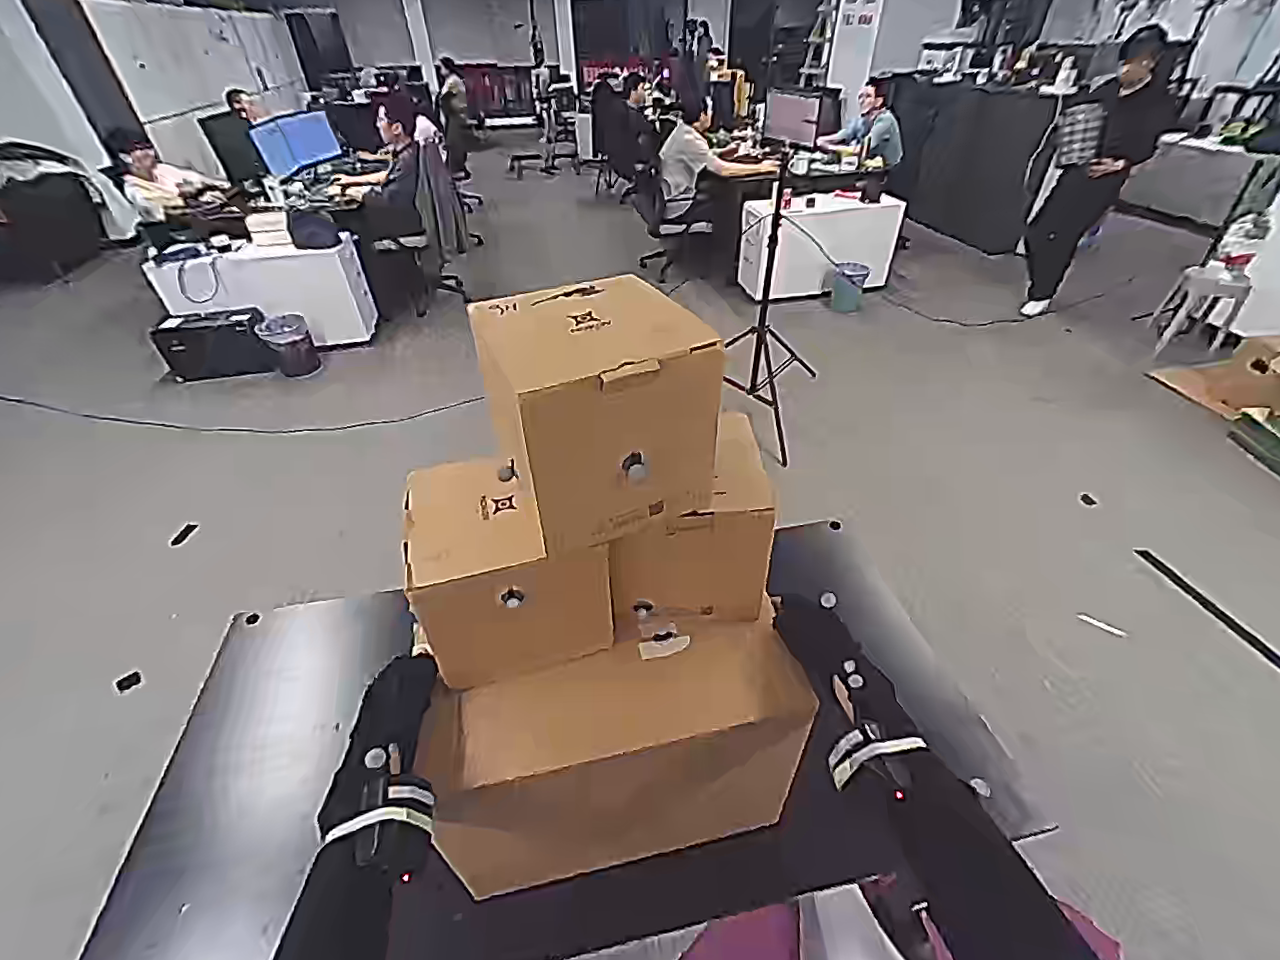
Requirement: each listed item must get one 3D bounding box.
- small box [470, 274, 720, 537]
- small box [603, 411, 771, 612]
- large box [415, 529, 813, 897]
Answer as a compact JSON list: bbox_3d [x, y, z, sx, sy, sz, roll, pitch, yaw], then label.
[{"bbox_3d":[-0.042,-0.068,0.502,0.168,0.176,0.179,-17,43,-18],"label":"small box"},{"bbox_3d":[0.048,0.039,0.626,0.168,0.176,0.179,-2,38,0],"label":"small box"},{"bbox_3d":[-0.046,0.277,0.722,0.408,0.320,0.320,-9,40,-10],"label":"large box"}]
